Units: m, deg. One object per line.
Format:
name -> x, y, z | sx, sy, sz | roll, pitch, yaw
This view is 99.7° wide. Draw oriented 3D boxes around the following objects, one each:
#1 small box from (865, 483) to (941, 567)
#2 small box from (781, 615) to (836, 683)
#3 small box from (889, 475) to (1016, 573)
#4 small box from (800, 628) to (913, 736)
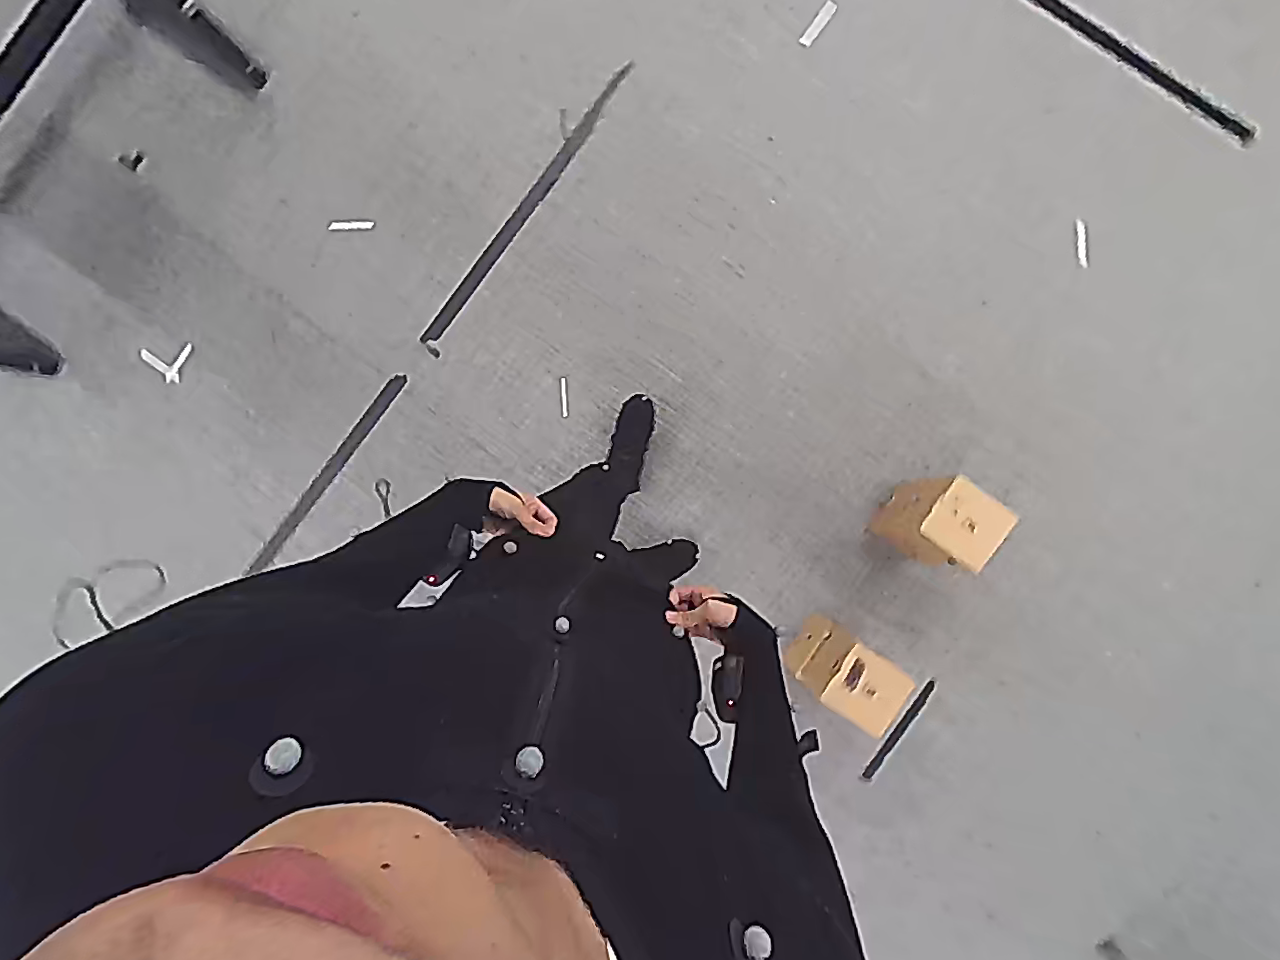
small box -> 0.773, 0.117, 1.511 | 0.179, 0.176, 0.168 | 39, 90, 2
small box -> 0.523, 0.498, 1.514 | 0.179, 0.176, 0.168 | 34, 90, 2
small box -> 0.768, 0.104, 1.347 | 0.179, 0.176, 0.168 | 39, 89, 3
small box -> 0.528, 0.490, 1.349 | 0.179, 0.176, 0.168 | 34, 90, 1
